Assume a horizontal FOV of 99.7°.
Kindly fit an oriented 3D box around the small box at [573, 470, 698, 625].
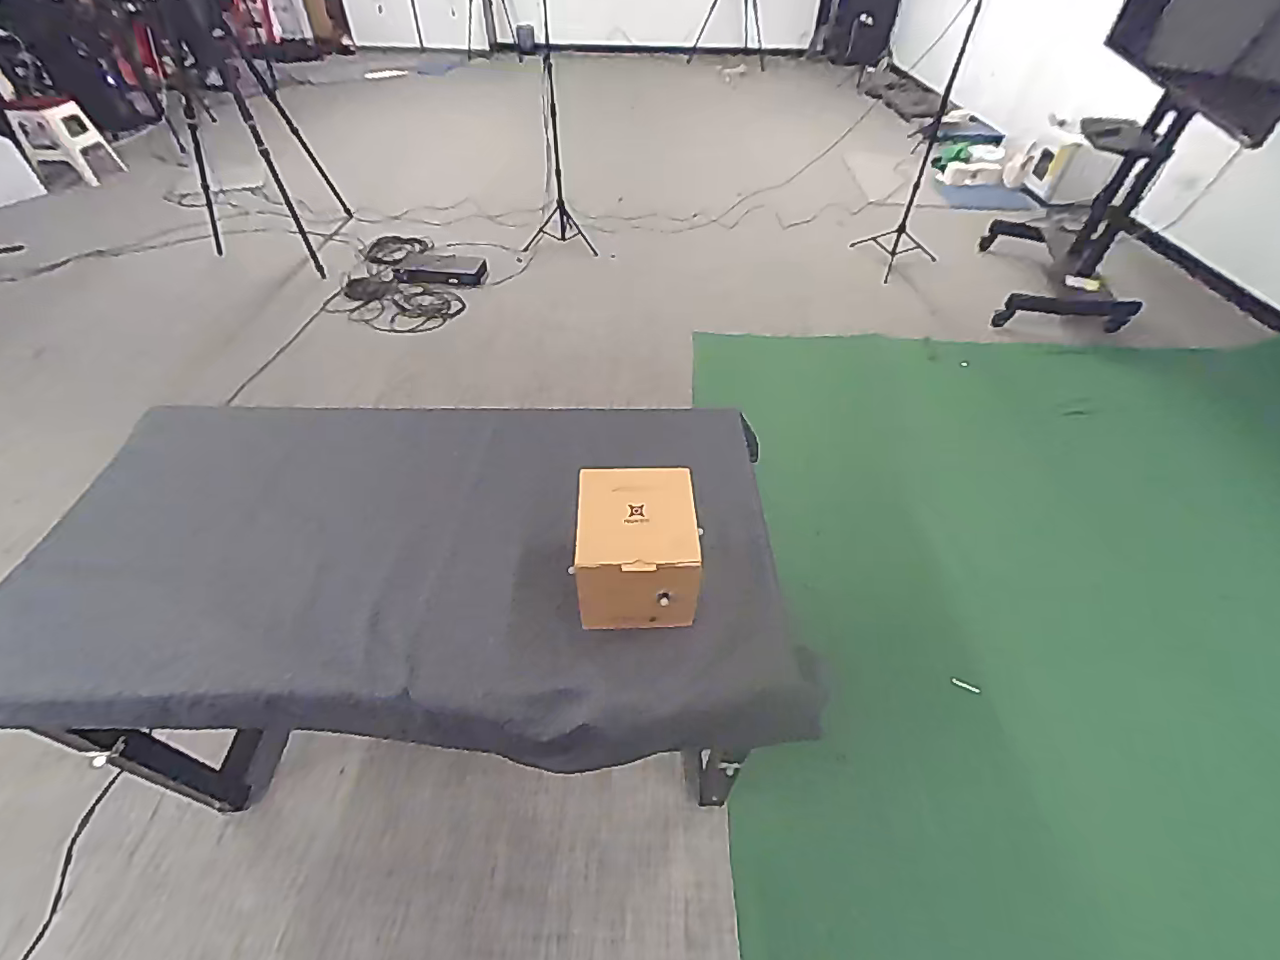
[{"bbox_3d":[-0.008,0.105,0.809,0.168,0.176,0.179,-1,45,-3],"label":"small box"}]
